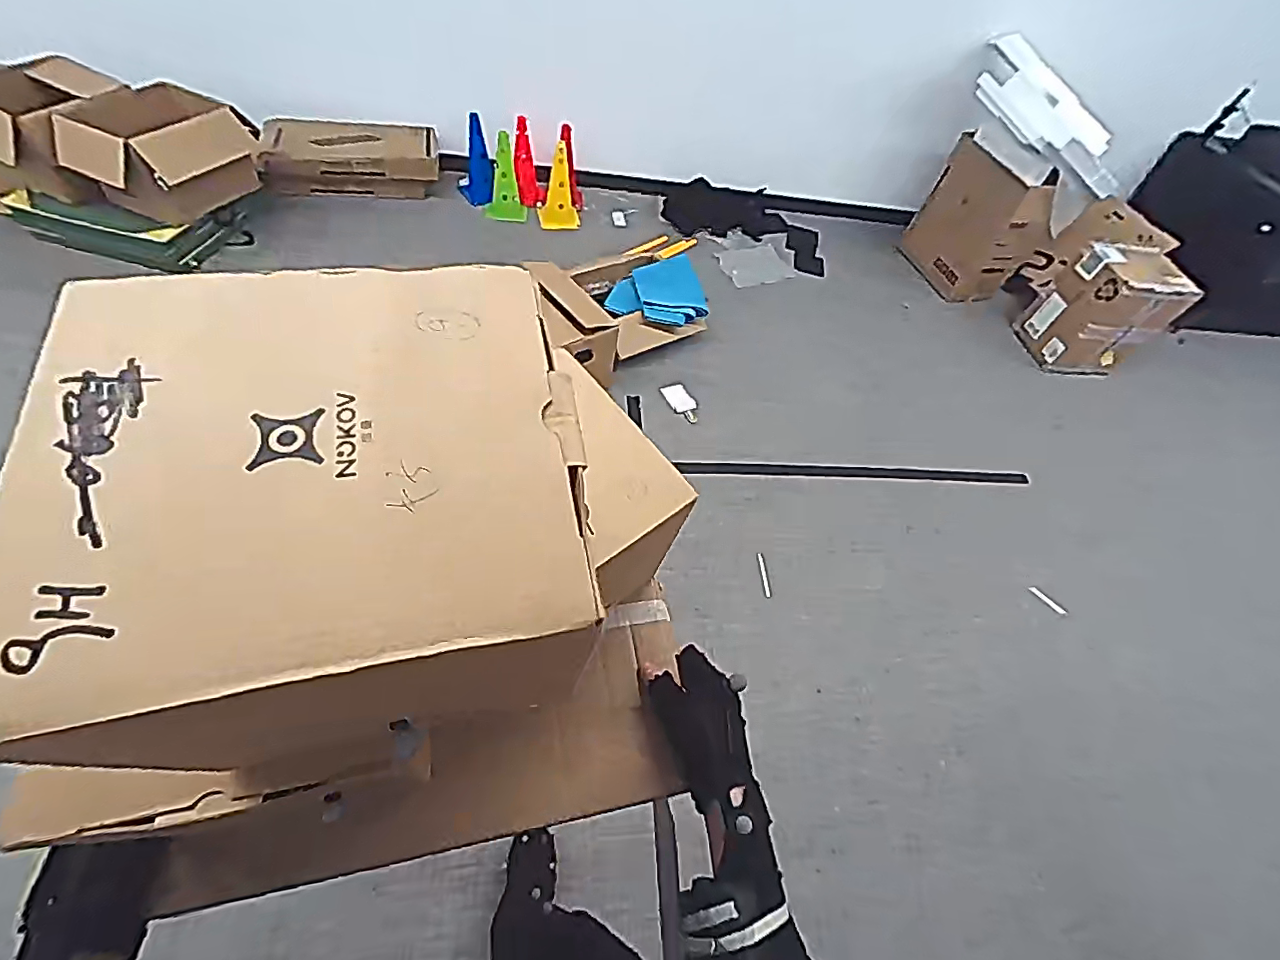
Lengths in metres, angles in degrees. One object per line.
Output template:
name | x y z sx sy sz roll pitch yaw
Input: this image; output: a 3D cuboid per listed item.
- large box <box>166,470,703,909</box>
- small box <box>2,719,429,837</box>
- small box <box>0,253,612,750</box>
large box | -0.195 0.212 0.609 0.408 0.320 0.320 -5 63 -16
small box | -0.240 0.118 0.368 0.168 0.176 0.179 -4 60 -17
small box | -0.123 0.019 0.257 0.179 0.176 0.168 -7 62 -15
